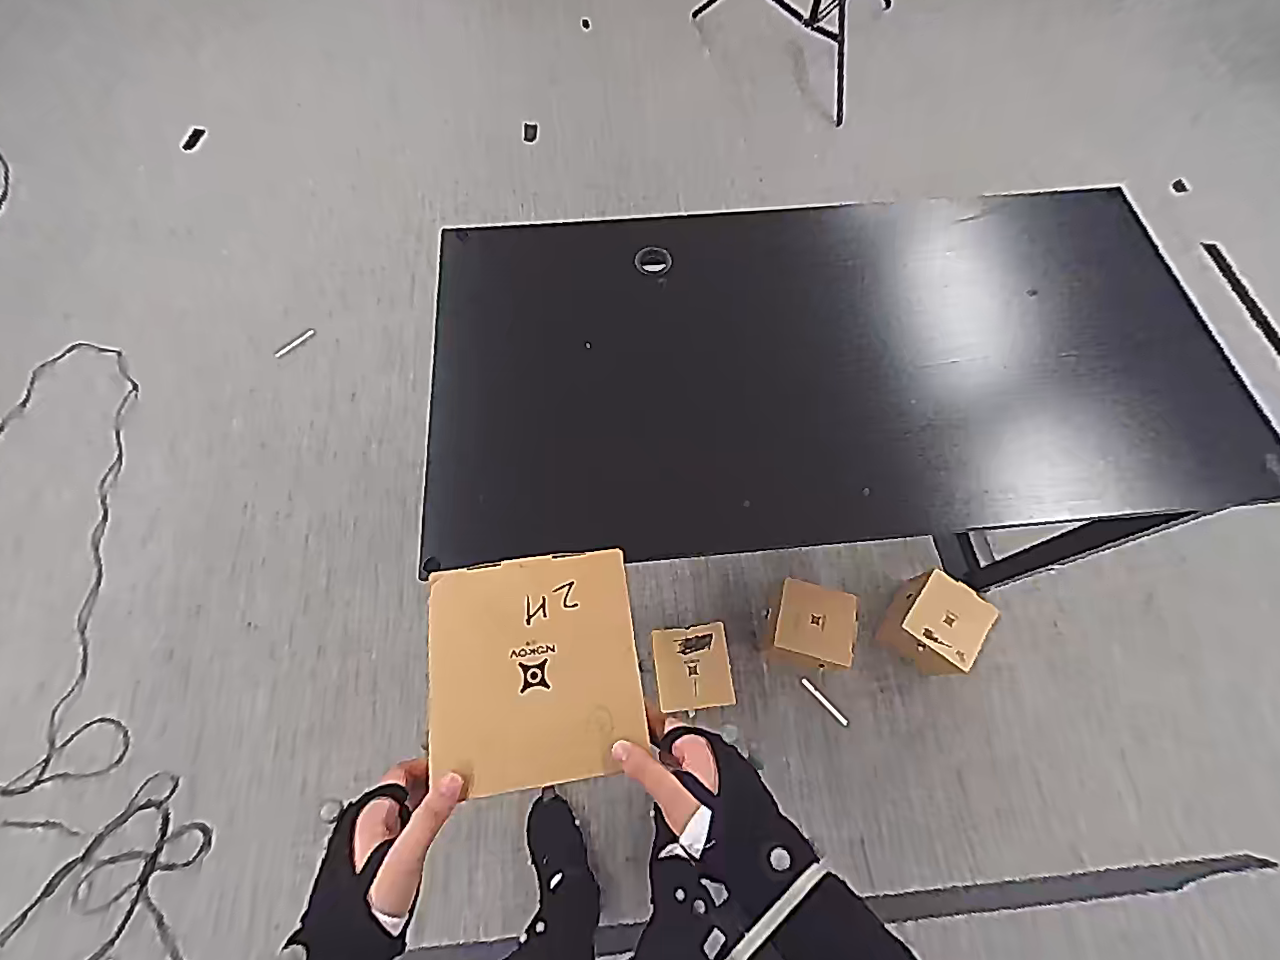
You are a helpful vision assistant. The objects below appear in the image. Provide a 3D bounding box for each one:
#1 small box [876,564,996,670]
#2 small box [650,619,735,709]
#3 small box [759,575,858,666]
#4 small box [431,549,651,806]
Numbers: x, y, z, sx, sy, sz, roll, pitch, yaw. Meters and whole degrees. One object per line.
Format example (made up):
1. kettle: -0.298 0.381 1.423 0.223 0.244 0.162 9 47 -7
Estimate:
1. small box: 0.704 0.336 1.305 0.168 0.176 0.179 35 72 14
2. small box: 0.115 0.433 1.264 0.168 0.176 0.179 -6 69 -3
3. small box: 0.401 0.345 1.304 0.179 0.176 0.168 14 67 6
4. small box: -0.087 0.180 0.505 0.168 0.176 0.179 -7 66 -7
